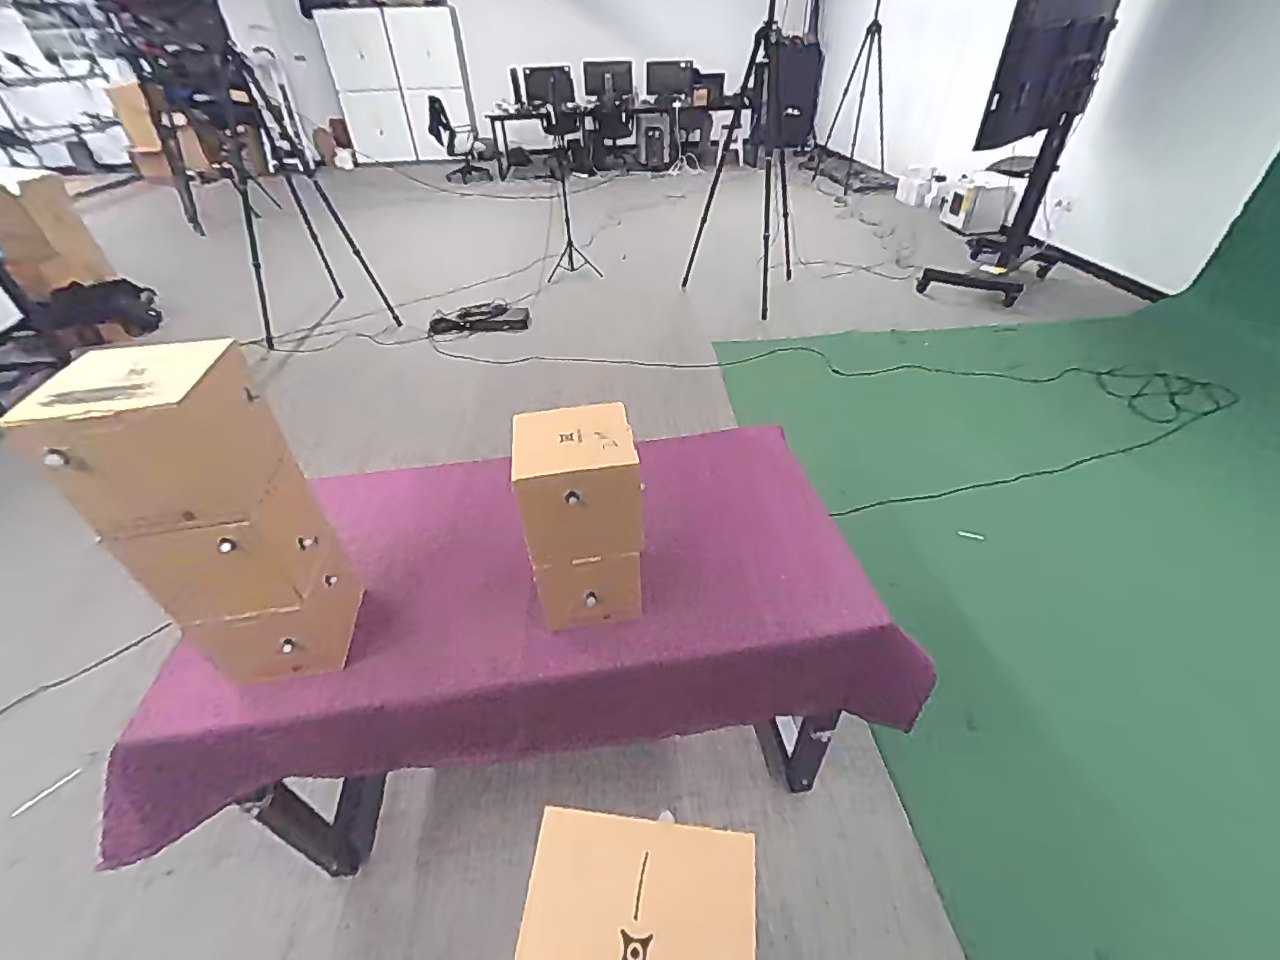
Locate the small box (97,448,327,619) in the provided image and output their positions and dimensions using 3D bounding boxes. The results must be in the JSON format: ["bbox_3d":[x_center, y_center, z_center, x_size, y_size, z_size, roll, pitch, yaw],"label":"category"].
[{"bbox_3d":[-0.583,0.077,0.771,0.179,0.176,0.168,-7,40,-10],"label":"small box"}]

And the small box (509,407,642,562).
[{"bbox_3d":[-0.096,0.009,0.832,0.179,0.176,0.168,-7,40,-6],"label":"small box"}]

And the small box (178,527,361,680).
[{"bbox_3d":[-0.576,0.202,0.873,0.168,0.176,0.179,-7,39,-8],"label":"small box"}]

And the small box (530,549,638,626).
[{"bbox_3d":[-0.095,0.136,0.938,0.168,0.176,0.179,-6,40,-6],"label":"small box"}]

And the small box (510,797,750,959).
[{"bbox_3d":[0.000,0.376,0.434,0.168,0.176,0.179,3,53,9],"label":"small box"}]
